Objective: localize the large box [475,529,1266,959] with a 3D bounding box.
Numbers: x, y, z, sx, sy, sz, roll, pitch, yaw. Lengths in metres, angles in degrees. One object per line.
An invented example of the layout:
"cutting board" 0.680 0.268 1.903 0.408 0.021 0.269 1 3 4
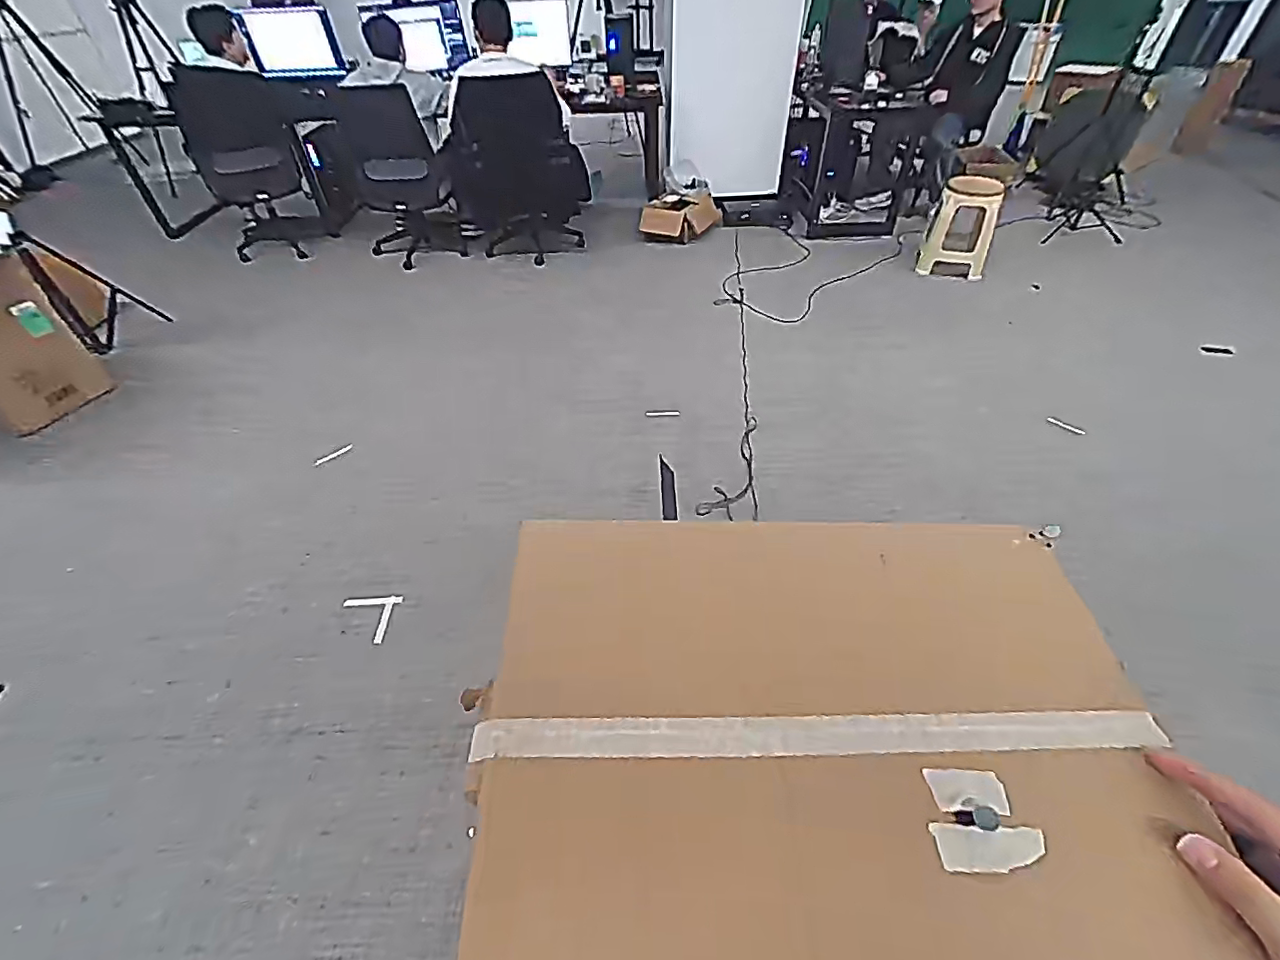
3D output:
"large box" 0.105 0.253 0.446 0.408 0.320 0.320 1 50 -3
